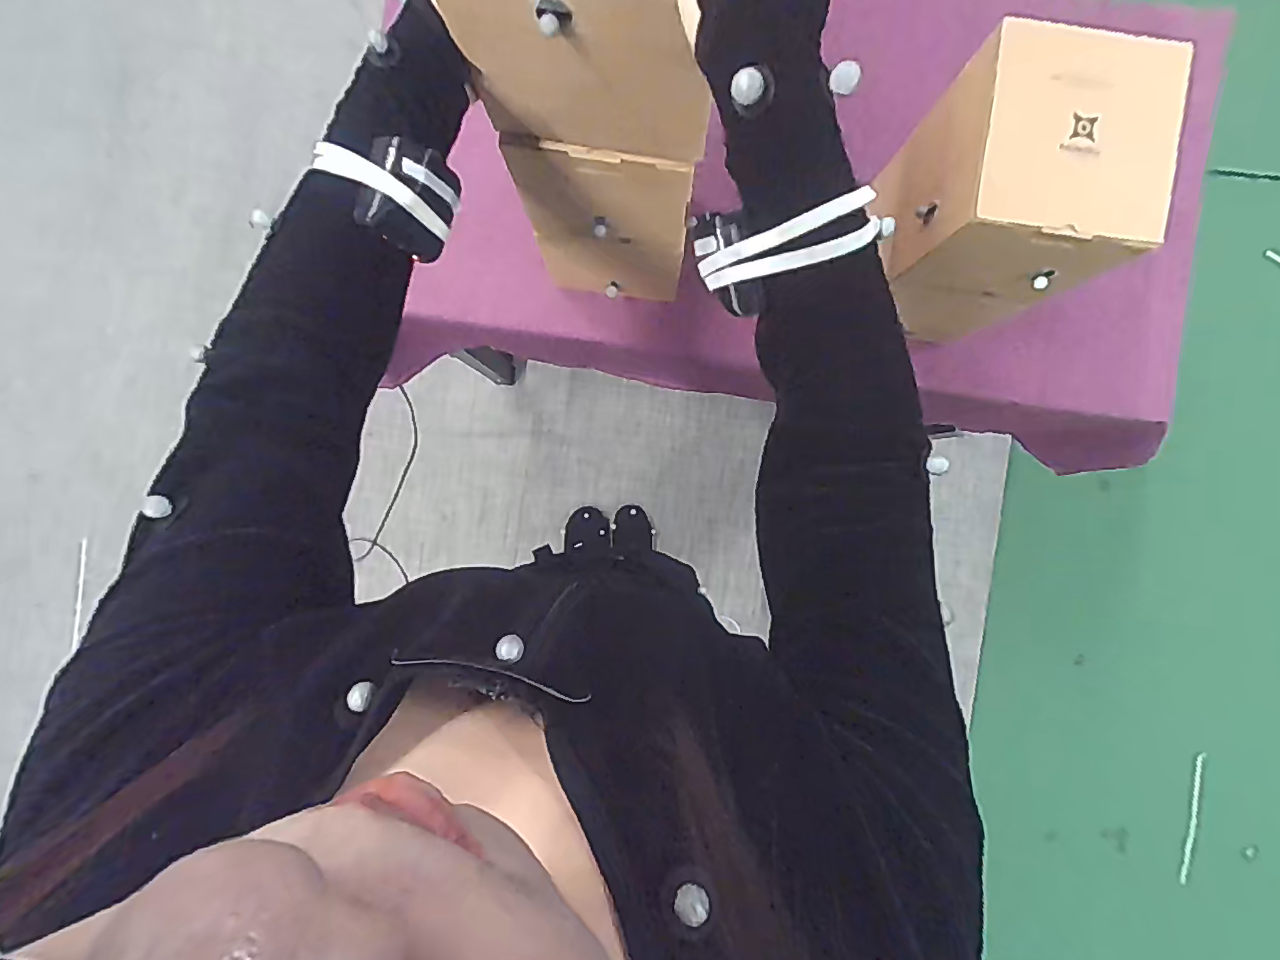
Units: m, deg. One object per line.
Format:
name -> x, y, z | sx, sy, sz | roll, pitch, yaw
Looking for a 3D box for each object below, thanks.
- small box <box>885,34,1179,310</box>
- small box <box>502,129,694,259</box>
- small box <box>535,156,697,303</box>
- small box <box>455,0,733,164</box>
small box -> 0.372, -0.289, 0.548 | 0.168, 0.176, 0.179 | 9, 90, -1
small box -> -0.025, -0.350, 0.541 | 0.168, 0.176, 0.179 | 9, 90, 0
small box -> -0.029, -0.344, 0.706 | 0.179, 0.176, 0.168 | 7, 89, -1
small box -> -0.022, -0.352, 0.373 | 0.179, 0.176, 0.168 | 10, 89, 1
